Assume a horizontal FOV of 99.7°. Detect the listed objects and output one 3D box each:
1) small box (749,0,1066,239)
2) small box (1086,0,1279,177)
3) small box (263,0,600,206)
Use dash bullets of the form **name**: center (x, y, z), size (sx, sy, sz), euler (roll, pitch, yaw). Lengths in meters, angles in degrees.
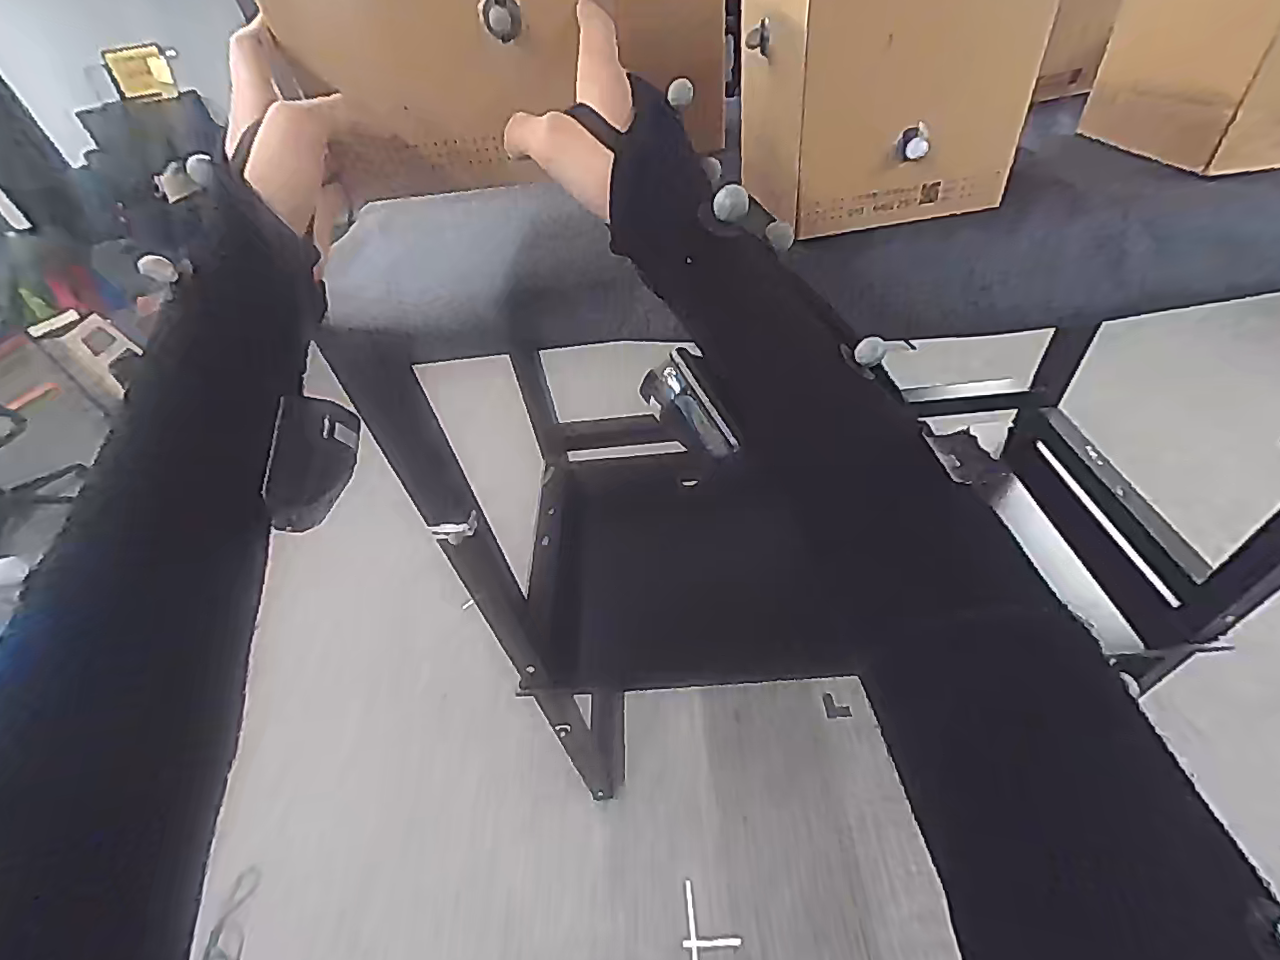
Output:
- **small box**: center (0.188, -0.314, 0.437), size (0.168, 0.176, 0.179), euler (-10, 42, 0)
- **small box**: center (0.521, -0.361, 0.435), size (0.168, 0.176, 0.179), euler (-6, 43, 4)
- **small box**: center (-0.120, -0.306, 0.360), size (0.179, 0.176, 0.168), euler (-6, 49, 0)
